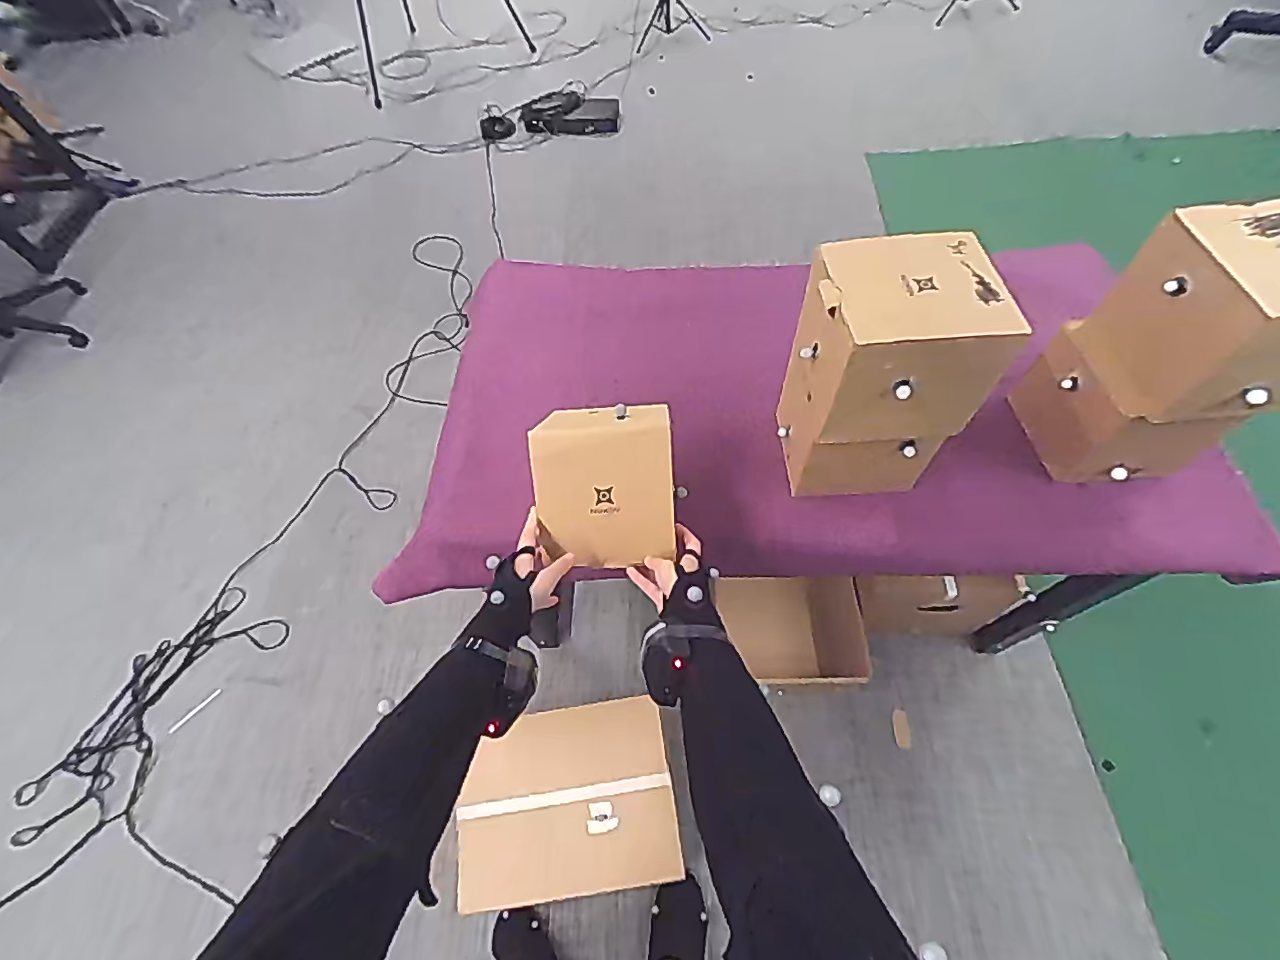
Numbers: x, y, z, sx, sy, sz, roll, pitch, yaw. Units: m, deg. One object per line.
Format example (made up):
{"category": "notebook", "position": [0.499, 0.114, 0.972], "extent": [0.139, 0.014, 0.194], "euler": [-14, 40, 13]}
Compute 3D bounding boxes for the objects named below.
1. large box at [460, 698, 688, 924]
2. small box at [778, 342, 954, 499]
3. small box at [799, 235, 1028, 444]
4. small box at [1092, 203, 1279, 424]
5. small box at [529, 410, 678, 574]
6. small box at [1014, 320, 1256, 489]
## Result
{"category": "large box", "position": [-0.125, 0.679, 1.128], "extent": [0.408, 0.320, 0.320], "euler": [-8, 58, -1]}
{"category": "small box", "position": [0.308, -0.084, 0.778], "extent": [0.179, 0.176, 0.168], "euler": [-3, 57, 4]}
{"category": "small box", "position": [0.291, -0.155, 0.630], "extent": [0.179, 0.176, 0.168], "euler": [-4, 57, 3]}
{"category": "small box", "position": [0.677, -0.186, 0.614], "extent": [0.168, 0.176, 0.179], "euler": [-5, 57, 4]}
{"category": "small box", "position": [-0.040, 0.005, 0.710], "extent": [0.168, 0.179, 0.176], "euler": [-4, 17, 3]}
{"category": "small box", "position": [0.674, -0.108, 0.759], "extent": [0.168, 0.176, 0.179], "euler": [-5, 57, 3]}
